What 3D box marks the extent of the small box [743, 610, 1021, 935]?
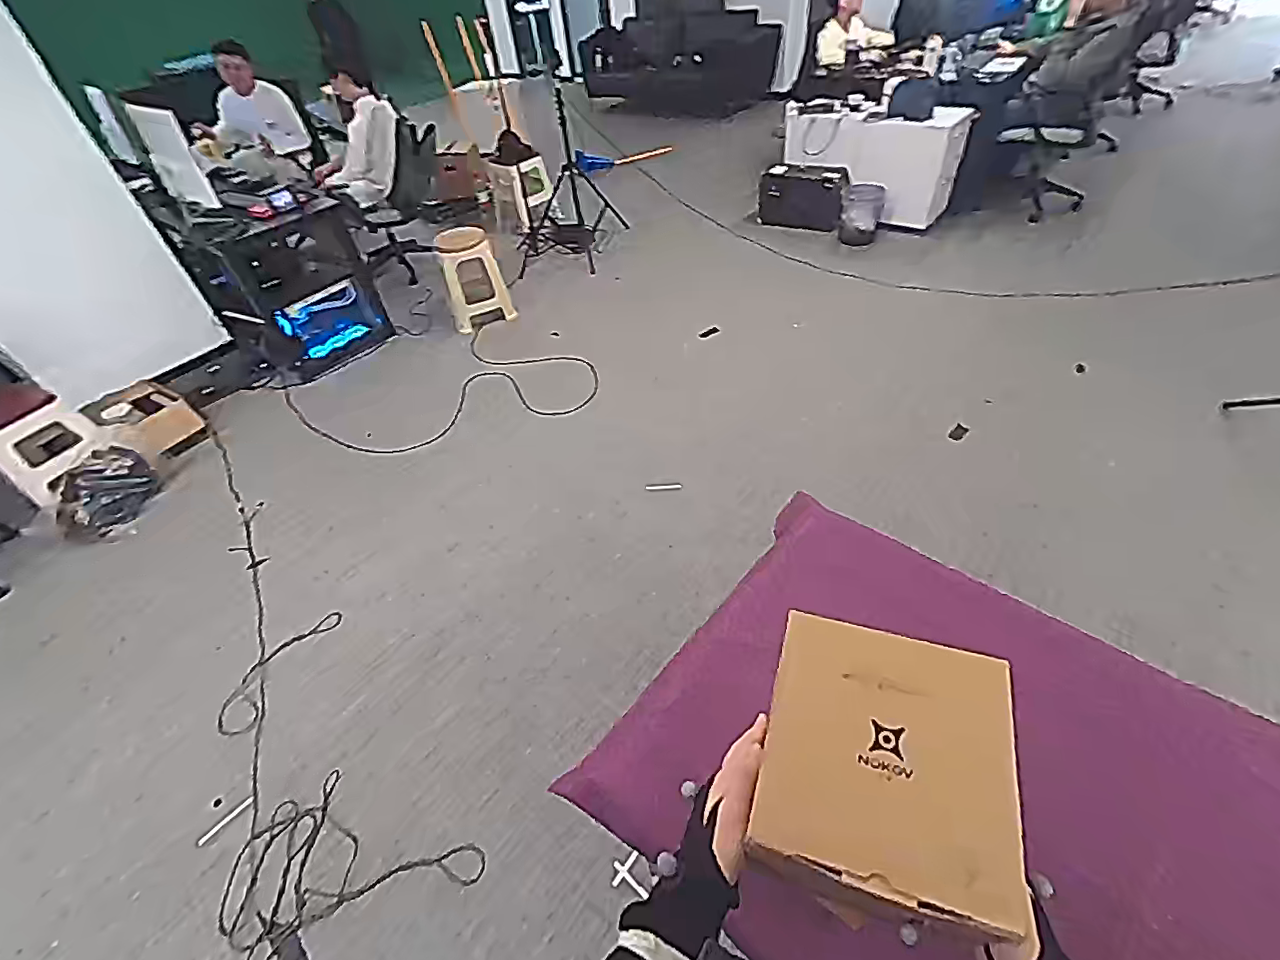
[{"bbox_3d":[0.182,0.239,0.448,0.168,0.176,0.179,10,52,16],"label":"small box"}]
